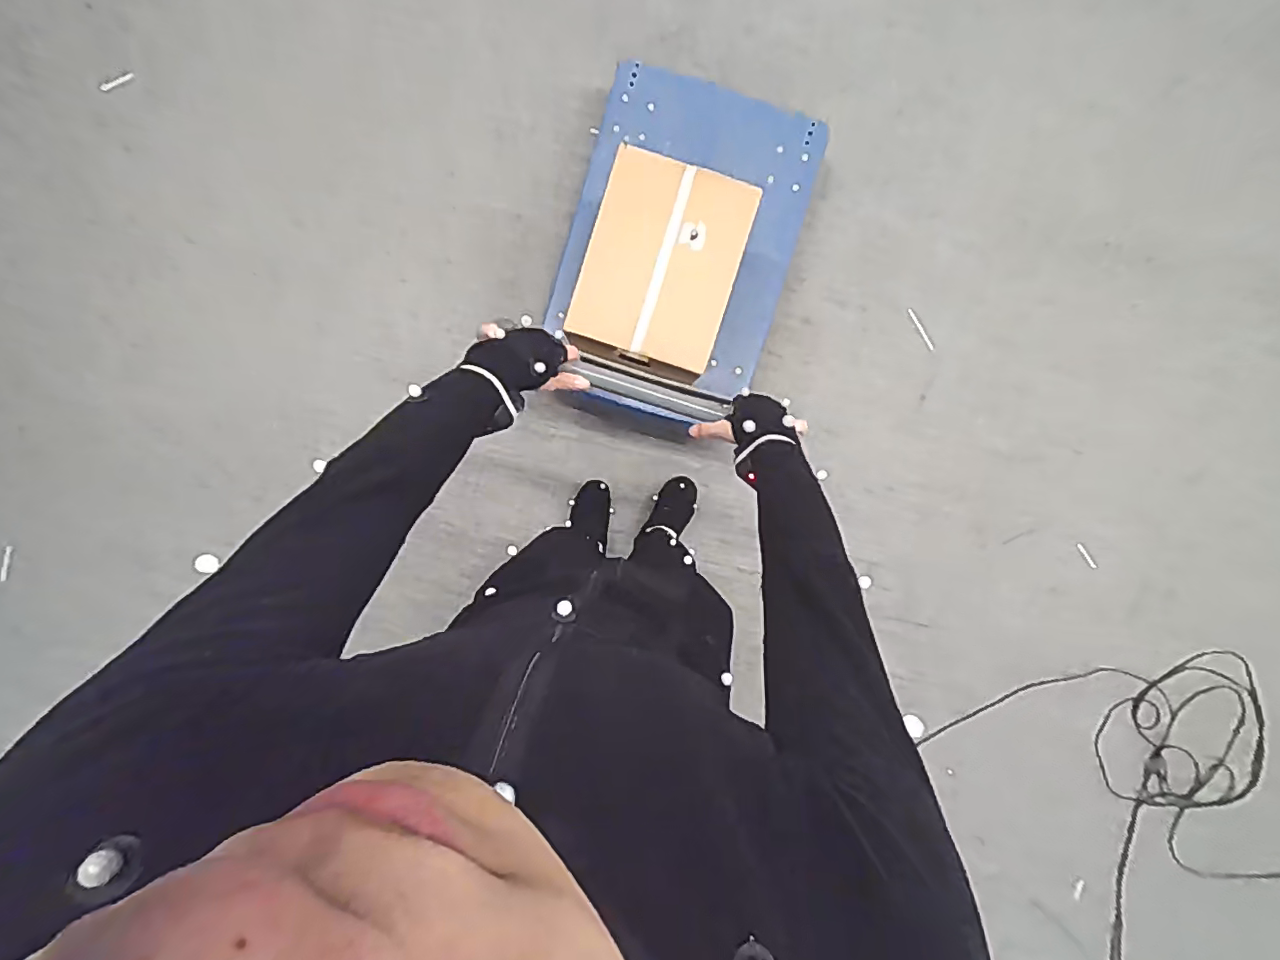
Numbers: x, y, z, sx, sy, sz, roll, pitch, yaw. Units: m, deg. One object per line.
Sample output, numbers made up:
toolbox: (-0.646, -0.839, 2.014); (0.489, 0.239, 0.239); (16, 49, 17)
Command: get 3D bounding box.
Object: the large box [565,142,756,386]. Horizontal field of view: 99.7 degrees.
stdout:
large box: (0.039, -0.471, 1.273); (0.320, 0.320, 0.408); (17, 92, -3)
